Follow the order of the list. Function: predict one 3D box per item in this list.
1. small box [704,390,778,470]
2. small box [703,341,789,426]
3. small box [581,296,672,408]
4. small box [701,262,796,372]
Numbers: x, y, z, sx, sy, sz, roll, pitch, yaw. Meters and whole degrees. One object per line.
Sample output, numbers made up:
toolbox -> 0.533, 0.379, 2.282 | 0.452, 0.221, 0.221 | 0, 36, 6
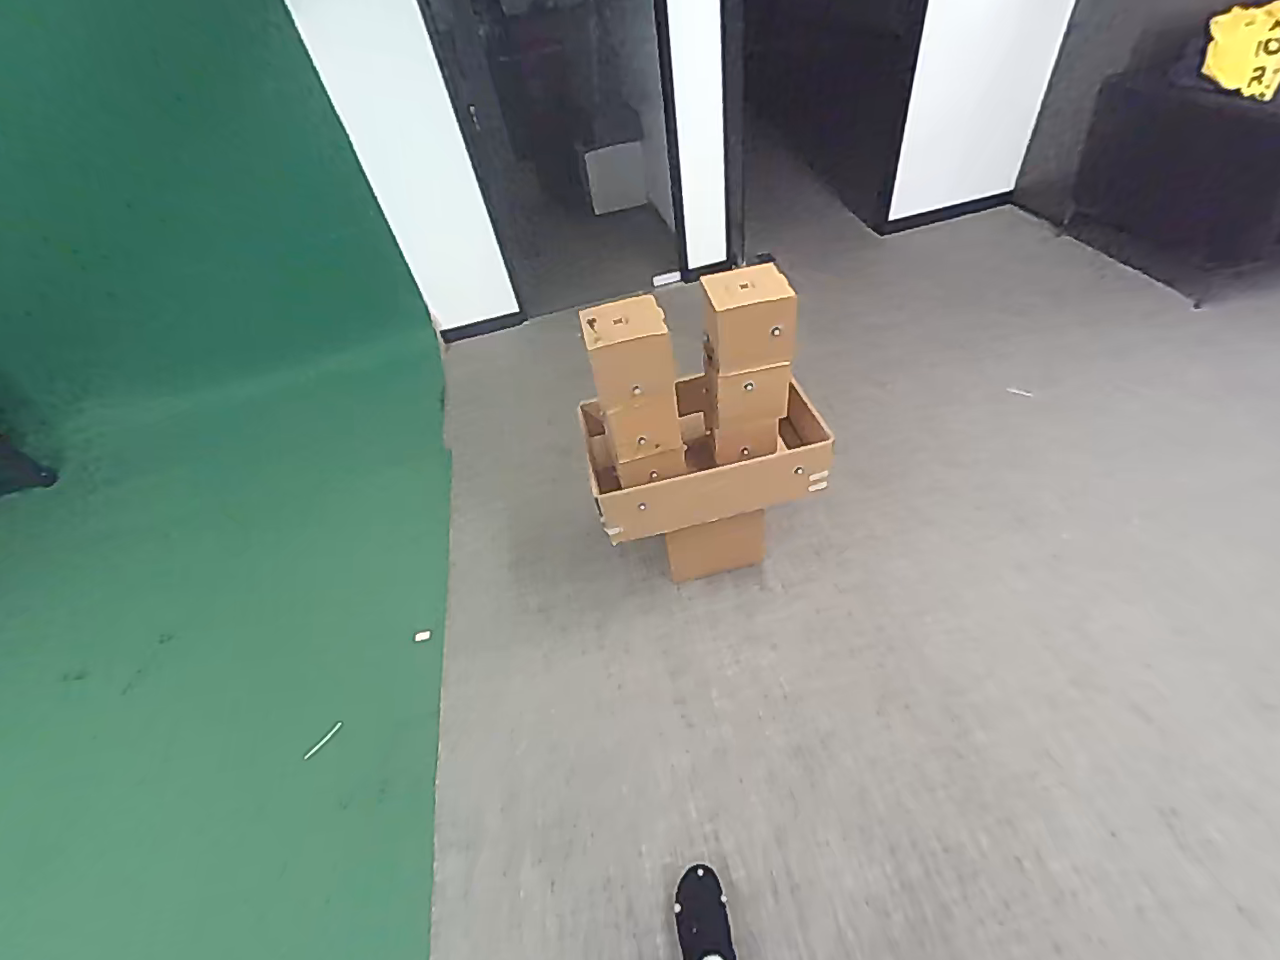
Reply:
small box -> 0.276, -0.144, 1.482 | 0.168, 0.176, 0.179 | -10, 46, 2
small box -> 0.266, -0.257, 1.363 | 0.179, 0.176, 0.168 | -11, 46, 1
small box -> -0.026, -0.287, 1.226 | 0.179, 0.176, 0.168 | -12, 46, -1
small box -> 0.246, -0.375, 1.252 | 0.179, 0.176, 0.168 | -12, 46, 1
